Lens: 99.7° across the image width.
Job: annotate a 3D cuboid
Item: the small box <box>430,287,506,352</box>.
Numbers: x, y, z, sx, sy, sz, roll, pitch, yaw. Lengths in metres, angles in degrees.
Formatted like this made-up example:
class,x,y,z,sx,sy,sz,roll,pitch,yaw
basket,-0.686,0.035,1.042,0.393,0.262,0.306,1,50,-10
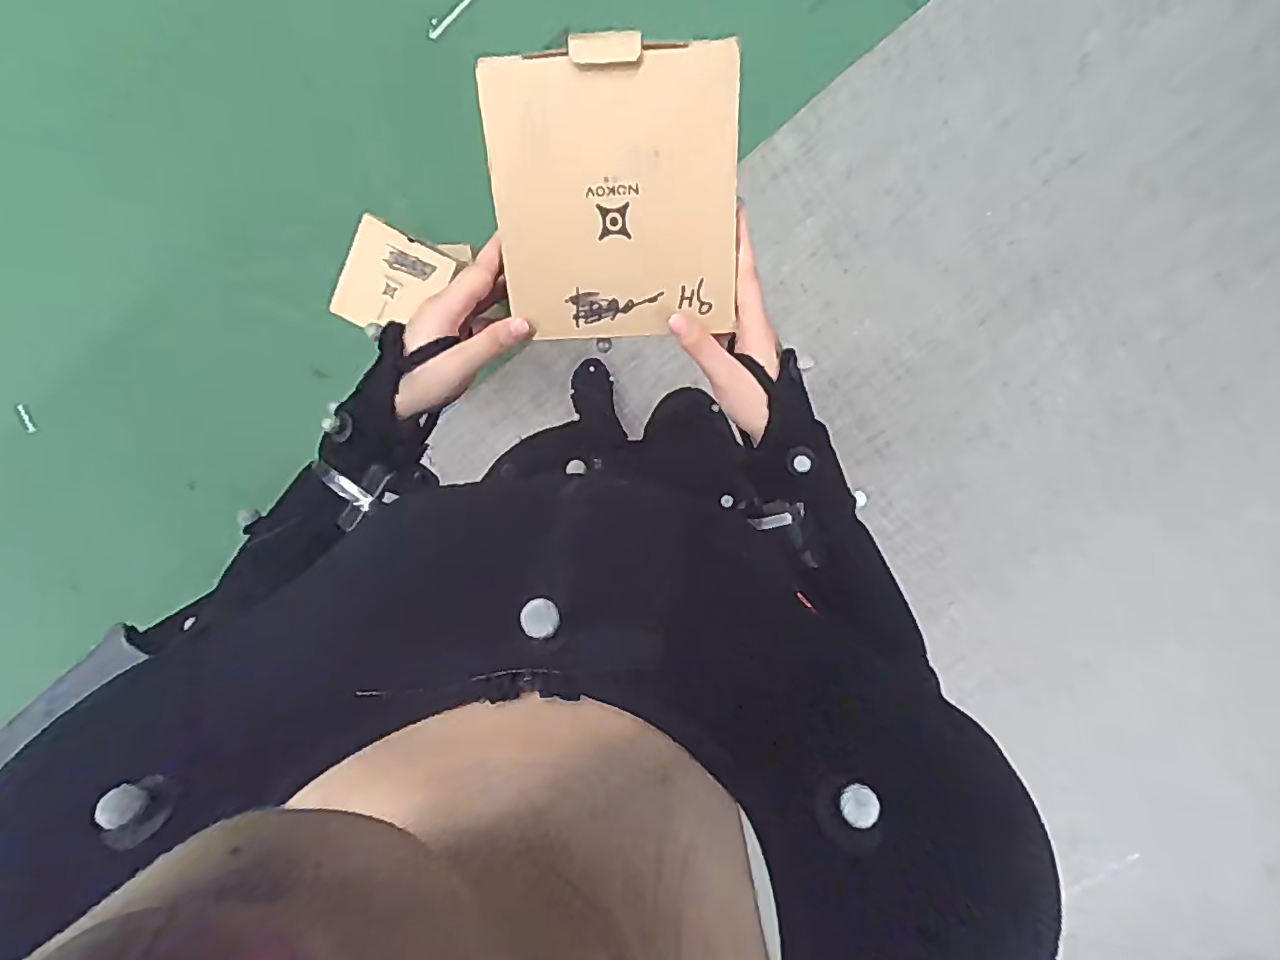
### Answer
class,x,y,z,sx,sy,sz,roll,pitch,yaw
small box,-0.440,-0.420,1.290,0.168,0.176,0.179,-22,104,4

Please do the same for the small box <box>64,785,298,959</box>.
class,x,y,z,sx,sy,sz,roll,pitch,yaw
small box,-0.653,0.600,0.800,0.179,0.176,0.168,-37,102,10

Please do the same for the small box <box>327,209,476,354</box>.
class,x,y,z,sx,sy,sz,roll,pitch,yaw
small box,-0.414,-0.347,0.972,0.168,0.176,0.179,28,103,-9

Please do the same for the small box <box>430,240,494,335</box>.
class,x,y,z,sx,sy,sz,roll,pitch,yaw
small box,-0.410,-0.393,1.130,0.168,0.176,0.179,-2,104,-2

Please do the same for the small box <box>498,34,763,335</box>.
class,x,y,z,sx,sy,sz,roll,pitch,yaw
small box,-0.002,-0.221,0.435,0.168,0.176,0.179,-1,116,3
